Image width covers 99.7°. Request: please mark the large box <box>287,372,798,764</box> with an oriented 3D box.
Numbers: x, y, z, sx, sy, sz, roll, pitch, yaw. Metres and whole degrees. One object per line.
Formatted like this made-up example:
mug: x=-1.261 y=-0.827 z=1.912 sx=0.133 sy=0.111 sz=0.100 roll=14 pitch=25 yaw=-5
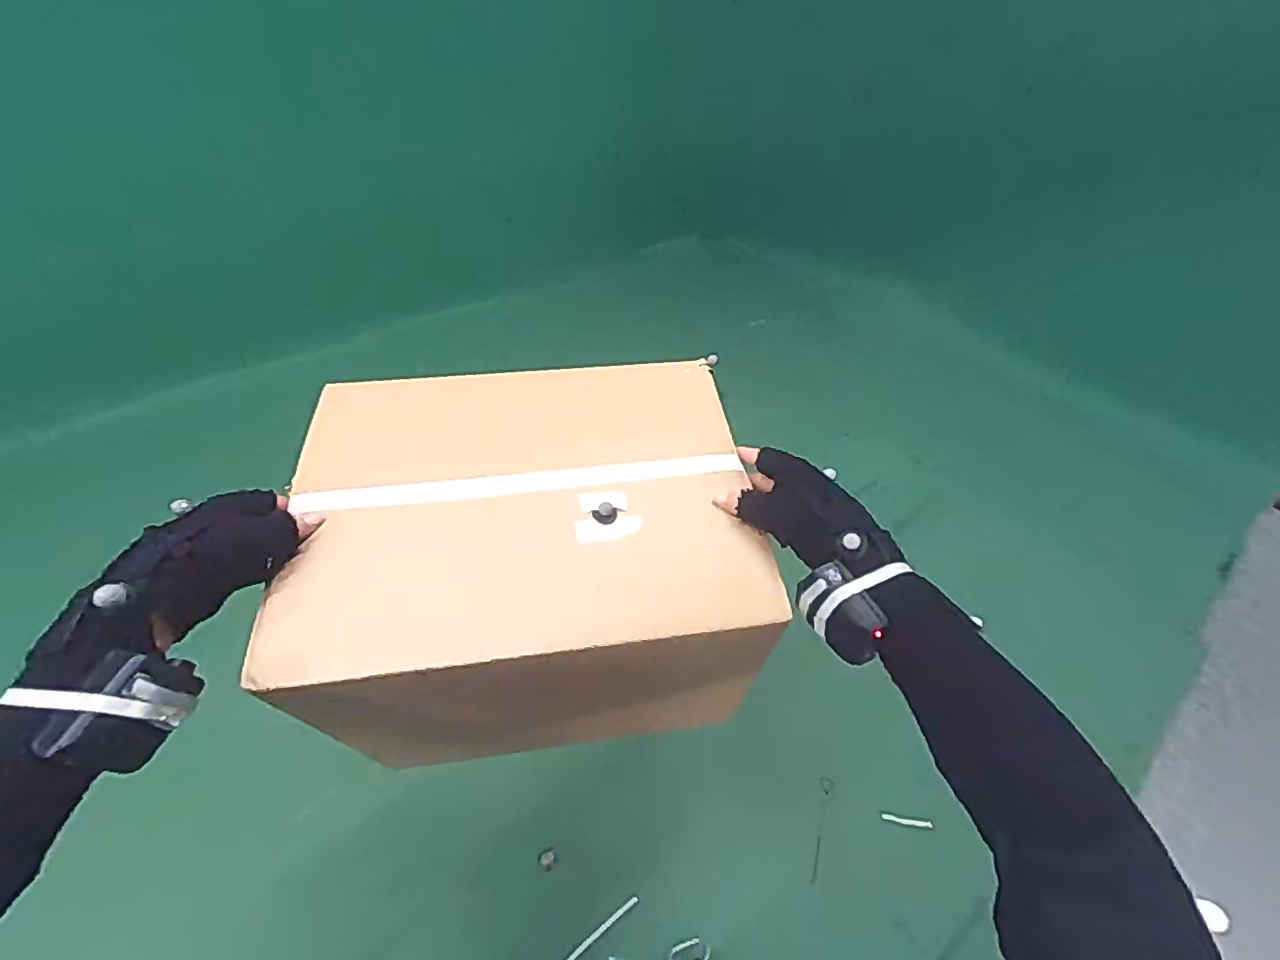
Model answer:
large box: x=-0.095 y=0.102 z=0.623 sx=0.408 sy=0.320 sz=0.320 roll=-4 pitch=53 yaw=-8
